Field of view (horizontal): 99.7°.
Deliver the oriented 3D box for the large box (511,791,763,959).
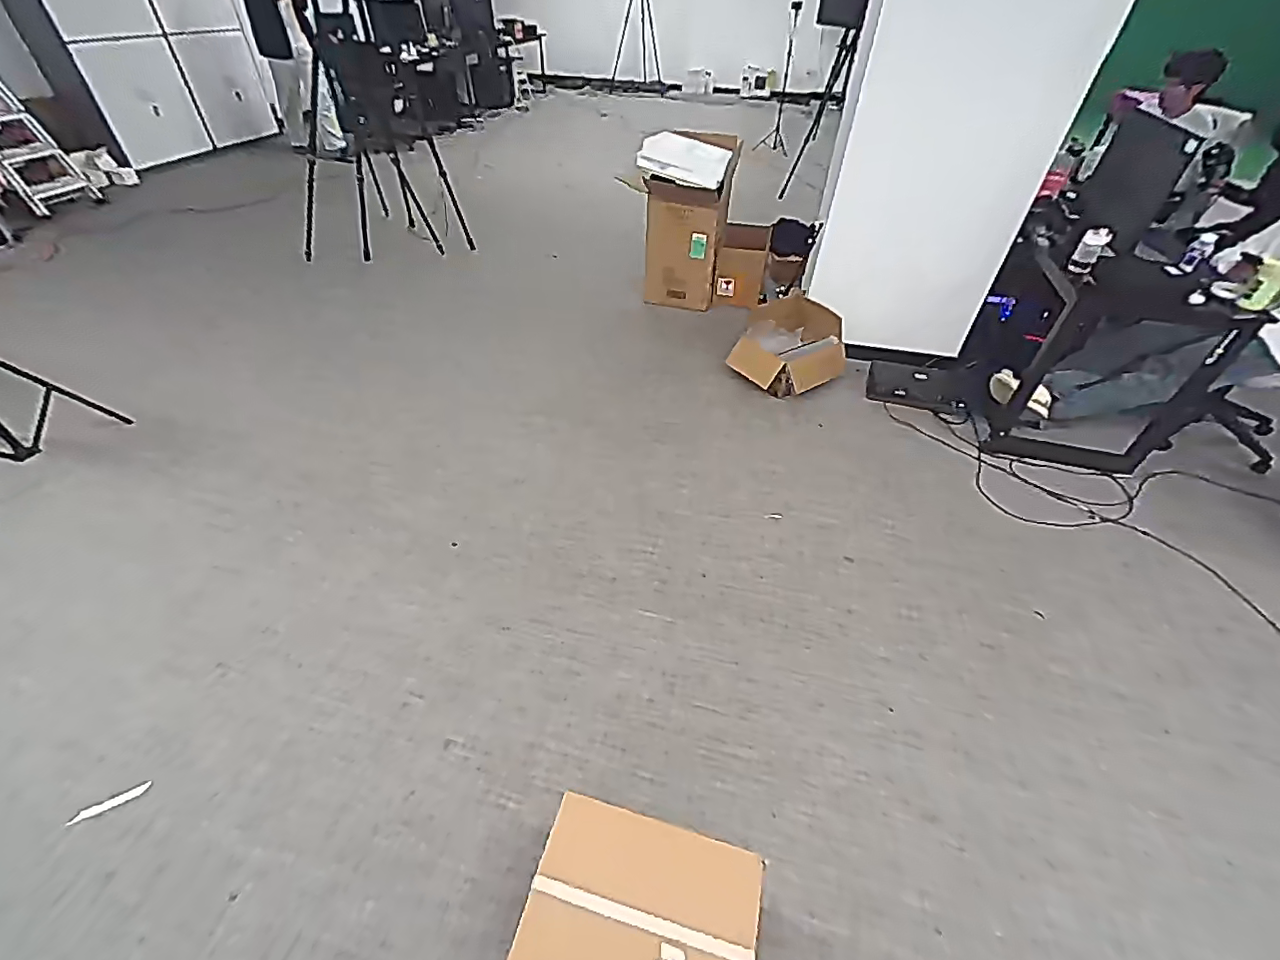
[{"bbox_3d":[-0.003,0.874,1.055,0.408,0.320,0.320,13,45,10],"label":"large box"}]
